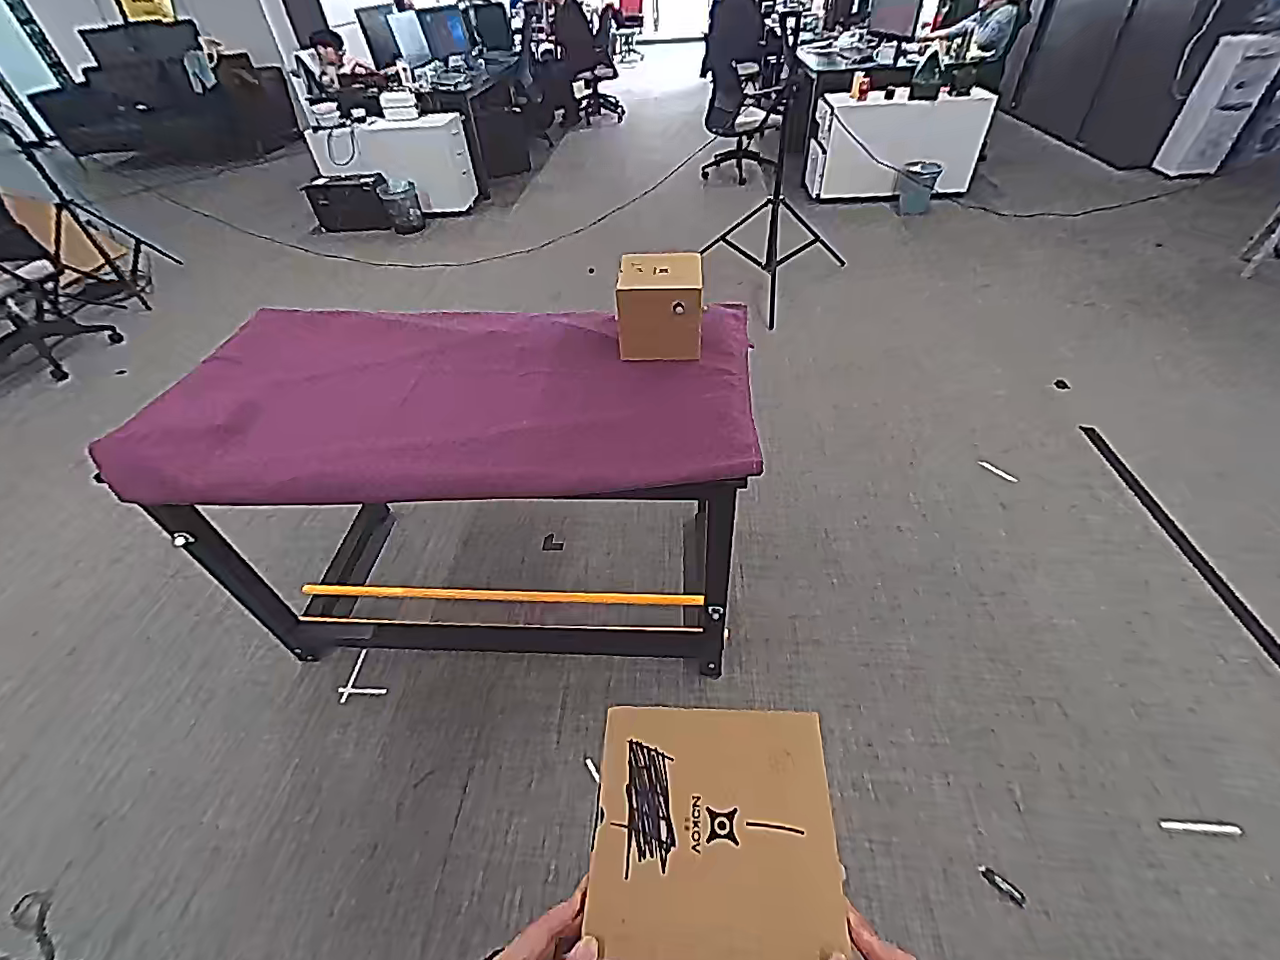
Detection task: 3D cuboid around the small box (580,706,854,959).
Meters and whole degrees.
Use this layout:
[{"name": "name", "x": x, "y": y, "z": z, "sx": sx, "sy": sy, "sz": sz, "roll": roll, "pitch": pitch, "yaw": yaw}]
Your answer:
[{"name": "small box", "x": 0.064, "y": 0.304, "z": 0.447, "sx": 0.179, "sy": 0.176, "sz": 0.168, "roll": -3, "pitch": 46, "yaw": 9}]

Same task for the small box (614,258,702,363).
[{"name": "small box", "x": 0.043, "y": -0.369, "z": 1.188, "sx": 0.179, "sy": 0.176, "sz": 0.168, "roll": 0, "pitch": 45, "yaw": 5}]
